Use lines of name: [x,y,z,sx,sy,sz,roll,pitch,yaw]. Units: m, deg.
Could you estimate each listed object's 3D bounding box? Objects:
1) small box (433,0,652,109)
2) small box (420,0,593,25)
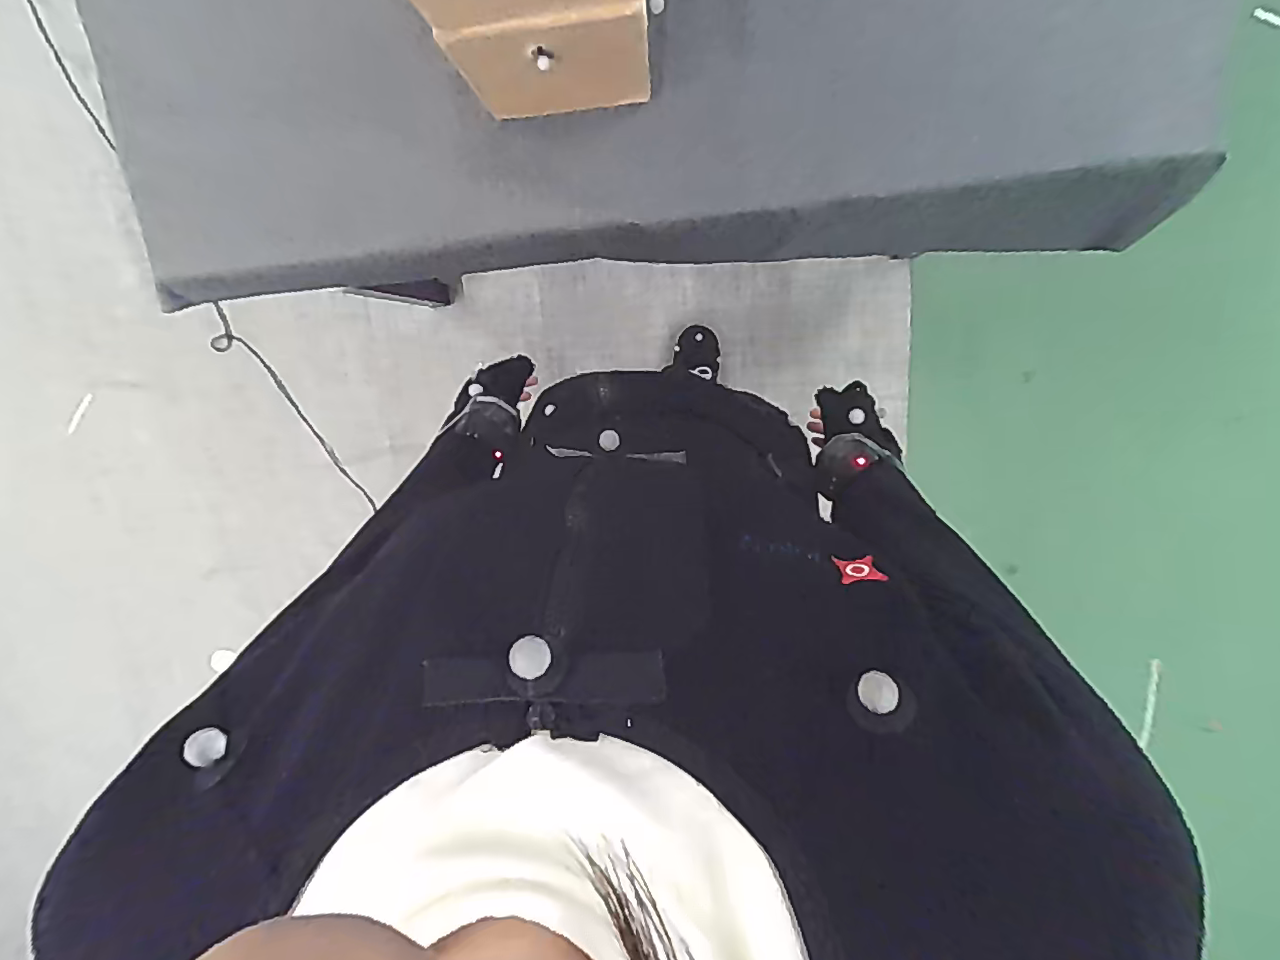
small box: [-0.084,-0.471,0.498,0.179,0.176,0.168,-4,105,4]
small box: [-0.095,-0.434,0.339,0.179,0.176,0.168,-5,104,7]
